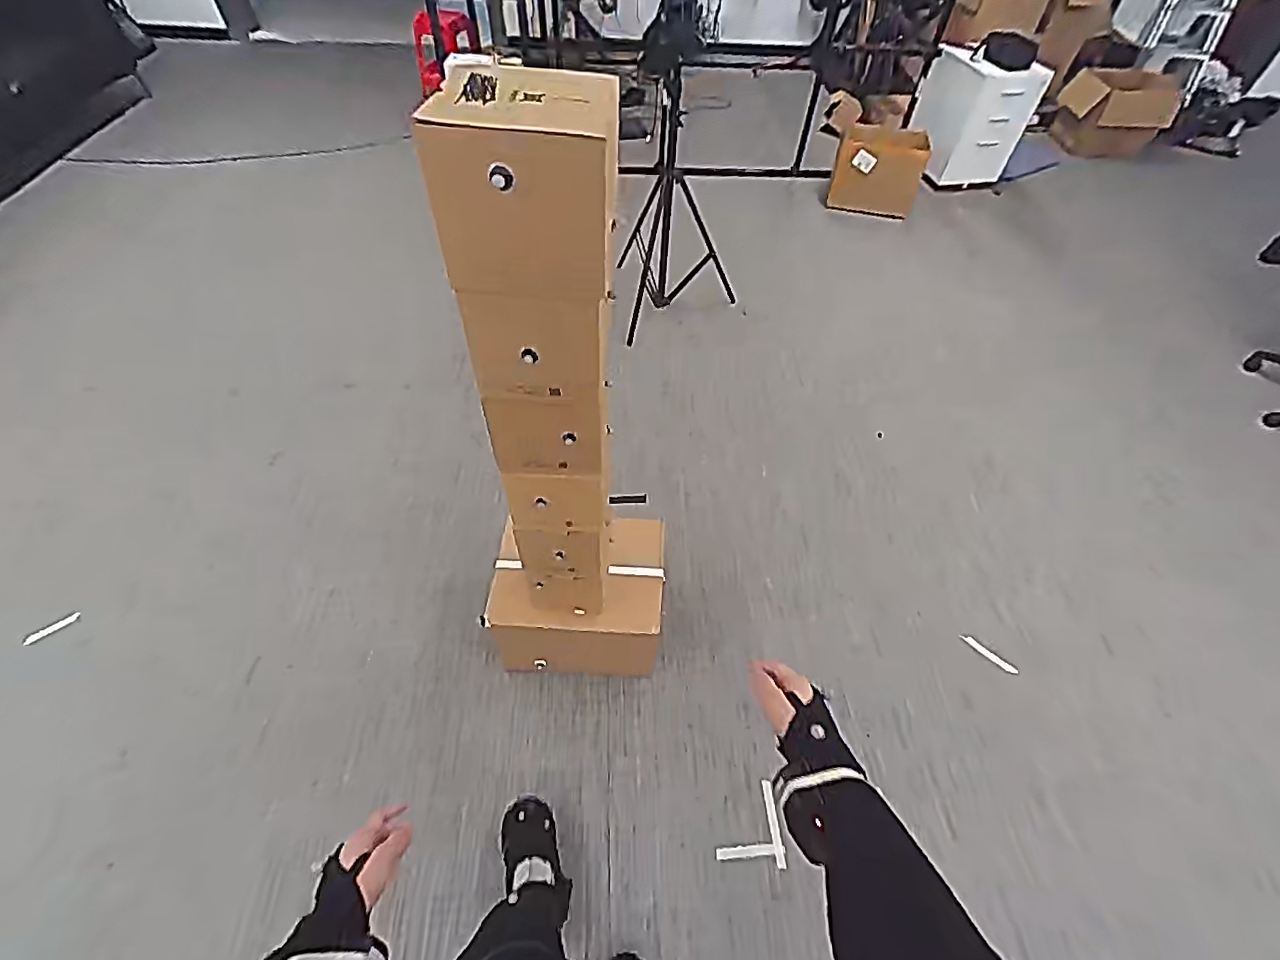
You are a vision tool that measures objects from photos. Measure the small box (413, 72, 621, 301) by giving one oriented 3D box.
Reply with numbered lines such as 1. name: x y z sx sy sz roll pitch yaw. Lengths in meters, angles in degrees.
1. small box: -0.115 -0.314 0.588 0.179 0.176 0.168 4 52 -1

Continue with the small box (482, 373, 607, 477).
1. small box: -0.138 -0.120 0.853 0.168 0.176 0.179 2 50 -2

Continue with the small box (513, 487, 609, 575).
1. small box: -0.152 0.081 1.108 0.168 0.176 0.179 4 53 0

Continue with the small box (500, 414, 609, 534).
1. small box: -0.143 -0.016 0.978 0.168 0.176 0.179 2 52 -1

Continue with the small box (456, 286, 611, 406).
1. small box: -0.126 -0.217 0.720 0.168 0.176 0.179 4 51 -1
